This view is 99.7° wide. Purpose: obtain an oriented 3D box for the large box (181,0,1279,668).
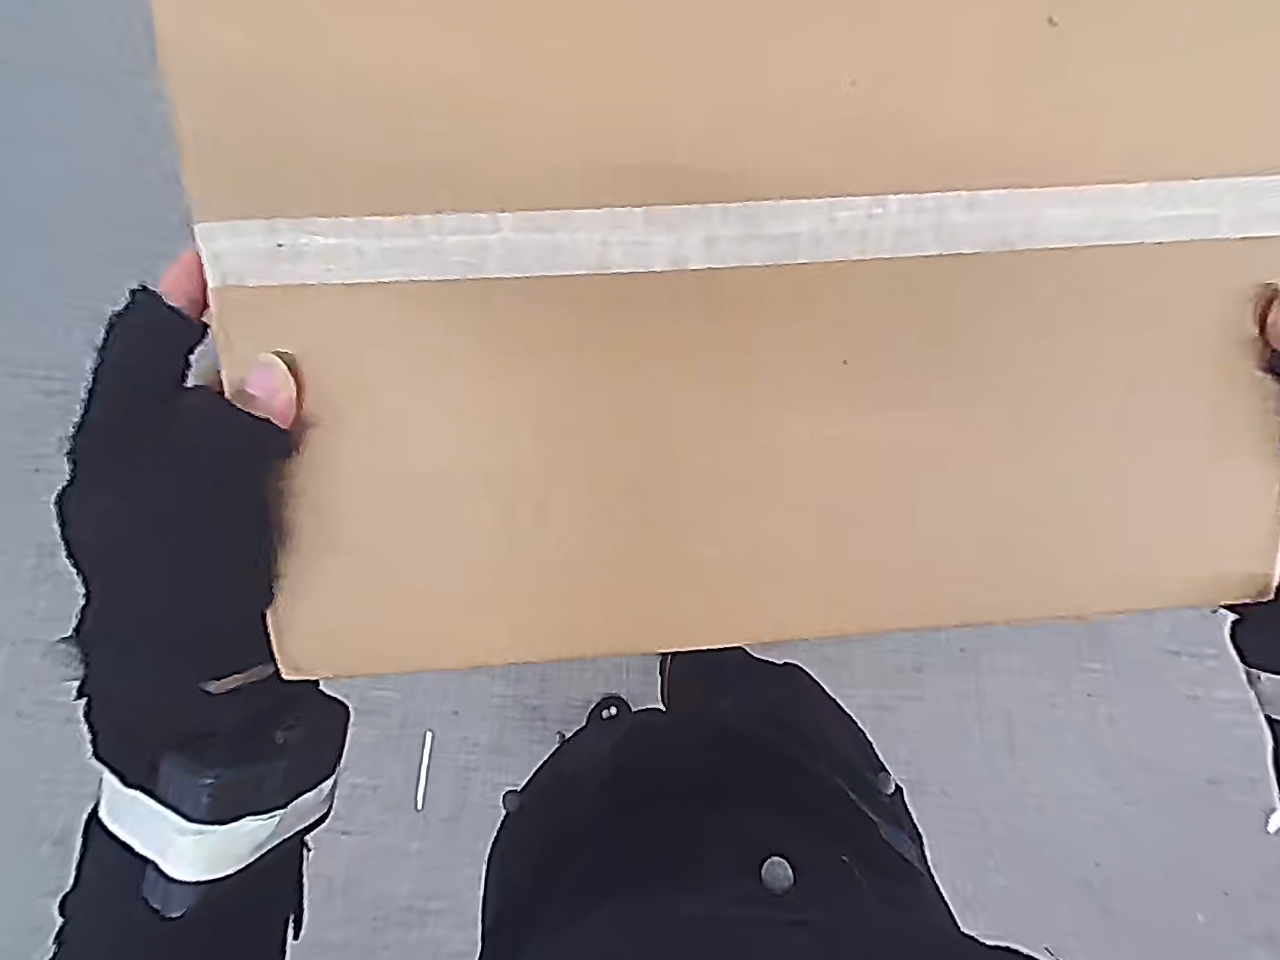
[{"bbox_3d":[0.041,-0.112,0.353,0.408,0.320,0.320,-4,99,-3],"label":"large box"}]
